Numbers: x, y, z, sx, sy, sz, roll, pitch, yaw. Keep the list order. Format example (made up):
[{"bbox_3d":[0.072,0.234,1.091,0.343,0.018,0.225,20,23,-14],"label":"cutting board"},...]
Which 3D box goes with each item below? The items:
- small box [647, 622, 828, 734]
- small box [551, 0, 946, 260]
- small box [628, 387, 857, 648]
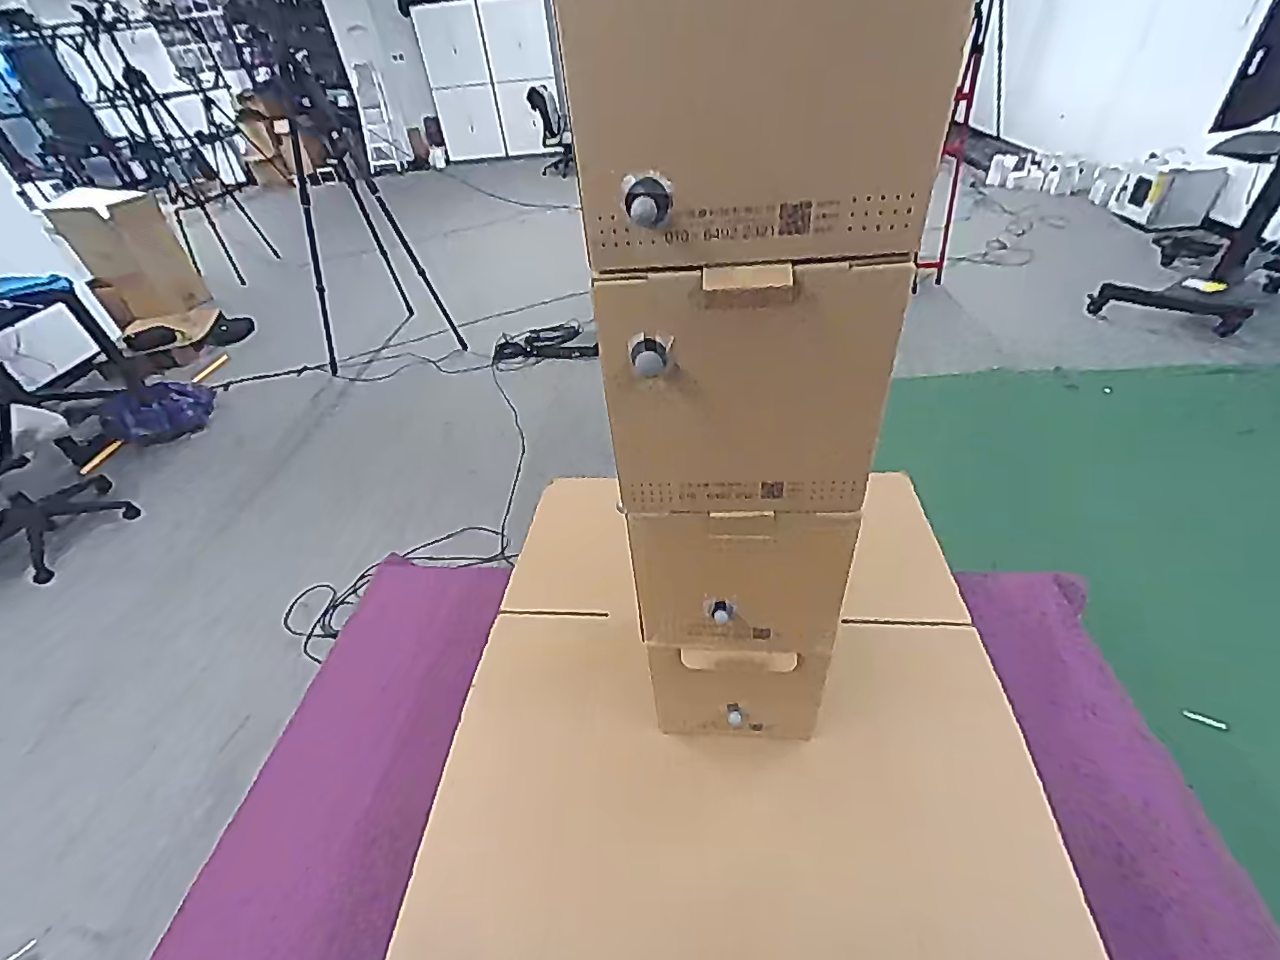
[{"bbox_3d":[0.103,0.154,0.603,0.168,0.176,0.179,-1,40,8],"label":"small box"},{"bbox_3d":[0.055,-0.227,0.296,0.168,0.176,0.179,0,38,8],"label":"small box"},{"bbox_3d":[0.086,0.030,0.500,0.168,0.176,0.179,-1,40,8],"label":"small box"}]
